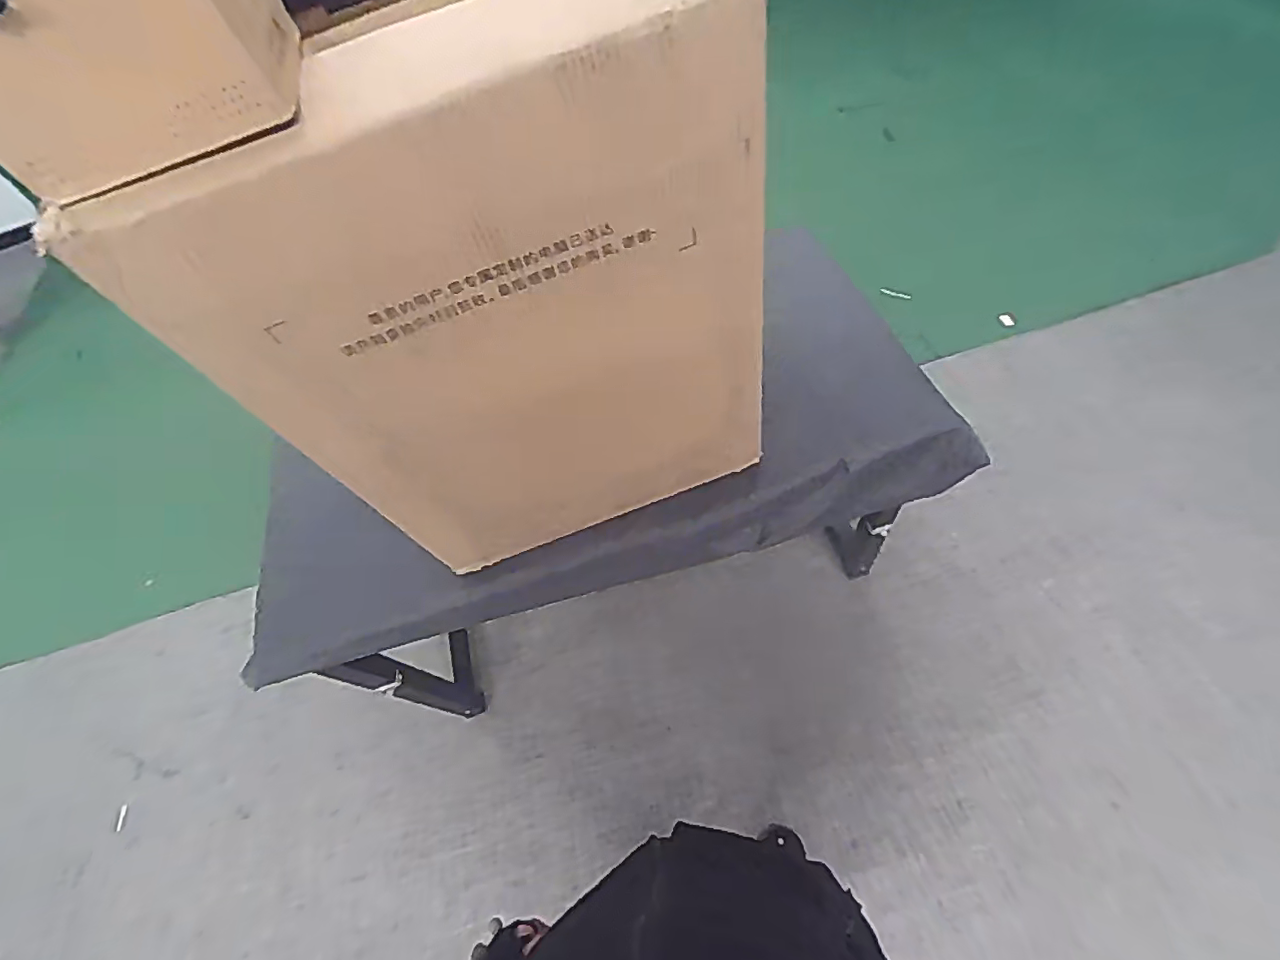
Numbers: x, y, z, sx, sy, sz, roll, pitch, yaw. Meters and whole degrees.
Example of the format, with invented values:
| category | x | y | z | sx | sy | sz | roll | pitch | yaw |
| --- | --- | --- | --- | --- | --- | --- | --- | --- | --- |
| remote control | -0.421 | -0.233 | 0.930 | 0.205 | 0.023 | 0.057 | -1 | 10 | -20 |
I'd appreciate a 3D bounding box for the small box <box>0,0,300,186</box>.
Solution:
| category | x | y | z | sx | sy | sz | roll | pitch | yaw |
| --- | --- | --- | --- | --- | --- | --- | --- | --- | --- |
| small box | -0.354 | -0.322 | 0.334 | 0.179 | 0.176 | 0.168 | -21 | 60 | 1 |
